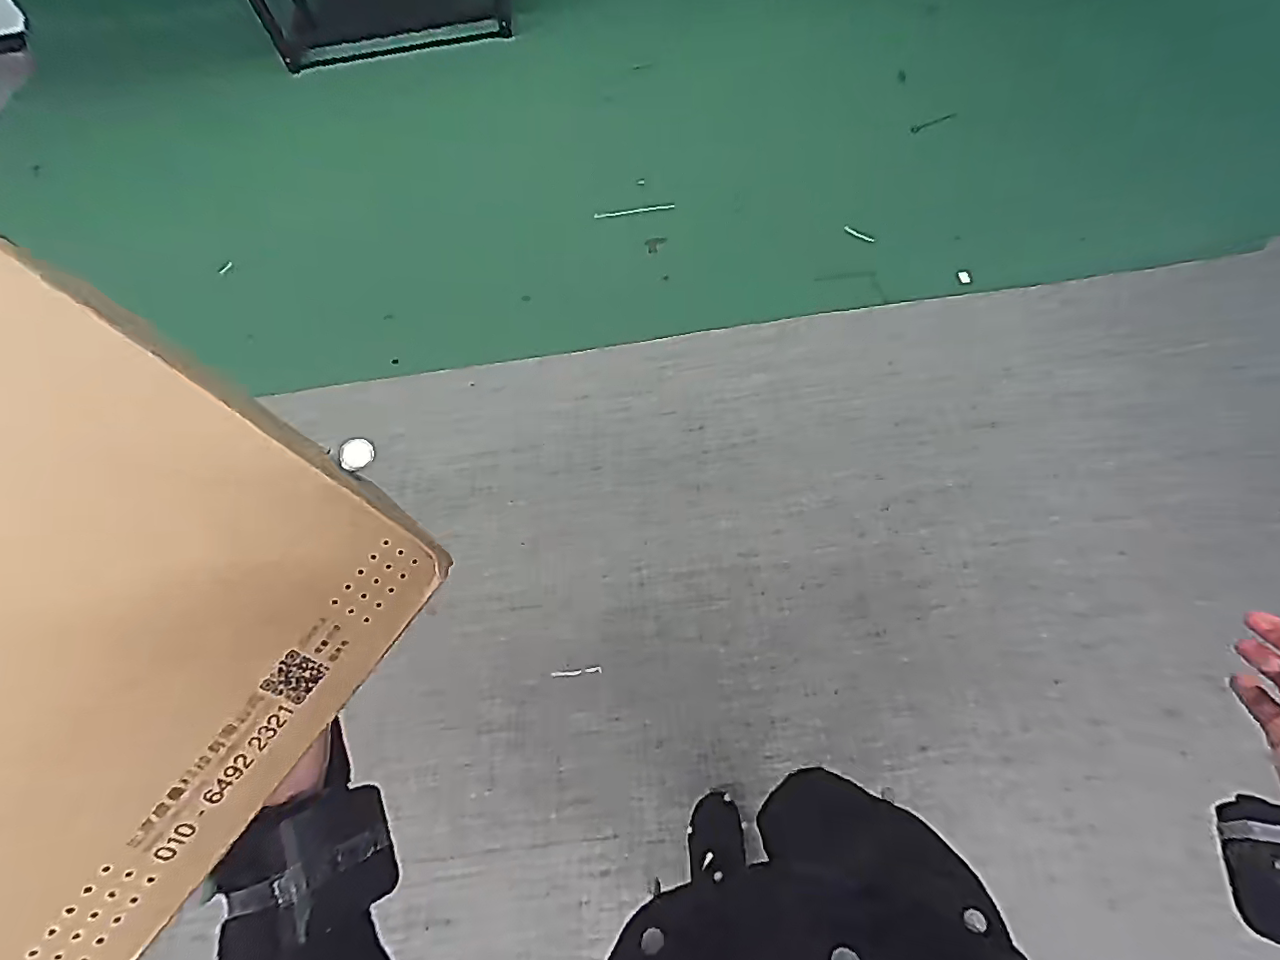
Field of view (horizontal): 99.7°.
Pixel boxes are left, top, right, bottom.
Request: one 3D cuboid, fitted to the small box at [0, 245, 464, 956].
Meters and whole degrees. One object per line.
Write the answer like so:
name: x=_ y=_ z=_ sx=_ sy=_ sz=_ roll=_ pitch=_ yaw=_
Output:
small box: x=-0.205 y=0.040 z=0.221 sx=0.168 sy=0.176 sz=0.179 roll=-55 pitch=31 yaw=-14
